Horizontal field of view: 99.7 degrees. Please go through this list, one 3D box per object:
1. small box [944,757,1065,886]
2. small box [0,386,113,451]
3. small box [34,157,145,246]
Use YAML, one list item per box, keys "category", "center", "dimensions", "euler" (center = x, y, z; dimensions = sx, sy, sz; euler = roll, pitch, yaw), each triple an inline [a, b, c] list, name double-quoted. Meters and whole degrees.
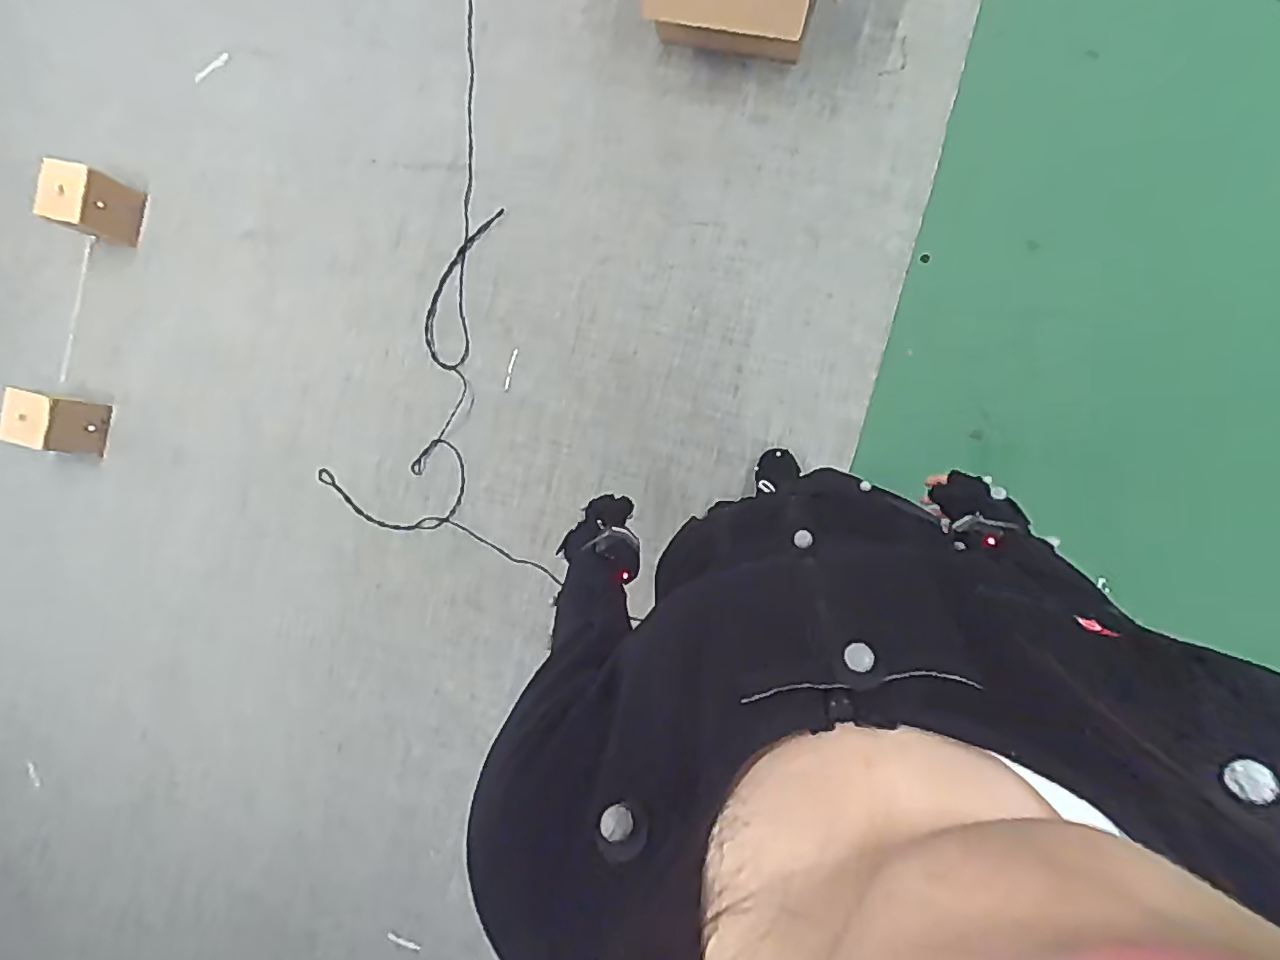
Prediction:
- category: "small box"
  center: [0.870, 0.817, 1.310]
  dimensions: [0.168, 0.176, 0.179]
  euler: [17, 92, 8]
- category: "small box"
  center: [-1.833, -0.186, 1.701]
  dimensions: [0.179, 0.176, 0.168]
  euler: [13, 93, 8]
- category: "small box"
  center: [-1.692, -0.856, 1.671]
  dimensions: [0.168, 0.176, 0.179]
  euler: [14, 93, 7]
